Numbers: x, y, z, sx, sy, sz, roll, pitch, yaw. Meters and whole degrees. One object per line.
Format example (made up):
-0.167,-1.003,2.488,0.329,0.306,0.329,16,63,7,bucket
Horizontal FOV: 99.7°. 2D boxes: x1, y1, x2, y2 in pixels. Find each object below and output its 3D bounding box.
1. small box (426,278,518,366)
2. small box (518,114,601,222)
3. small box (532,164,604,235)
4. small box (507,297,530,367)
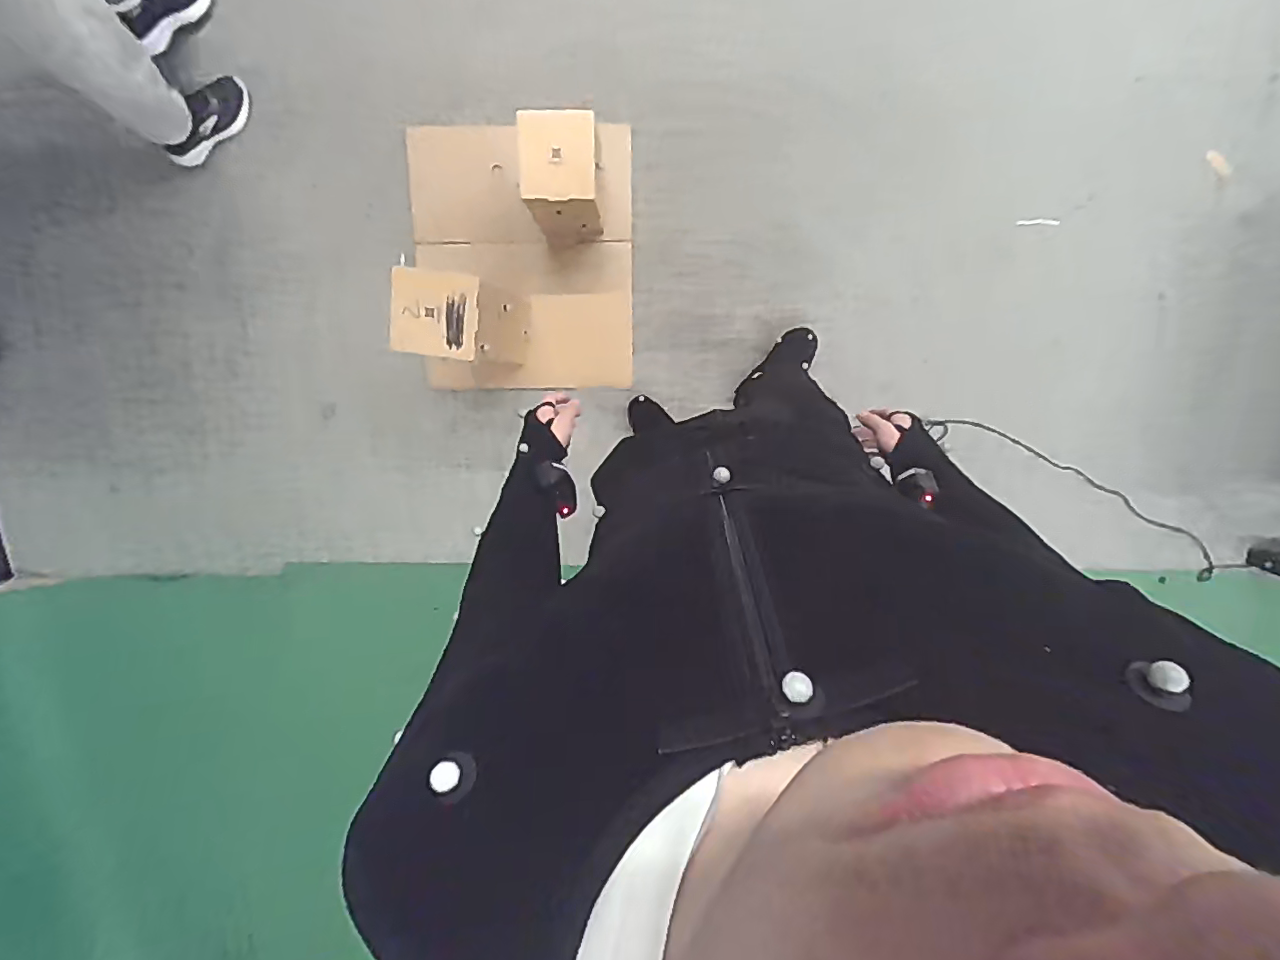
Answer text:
-0.398,-0.375,1.306,0.168,0.176,0.179,8,103,0,small box
-0.178,-0.704,1.235,0.168,0.176,0.179,0,104,1,small box
-0.182,-0.739,1.393,0.168,0.176,0.179,1,103,1,small box
-0.401,-0.407,1.469,0.168,0.176,0.179,8,102,0,small box
